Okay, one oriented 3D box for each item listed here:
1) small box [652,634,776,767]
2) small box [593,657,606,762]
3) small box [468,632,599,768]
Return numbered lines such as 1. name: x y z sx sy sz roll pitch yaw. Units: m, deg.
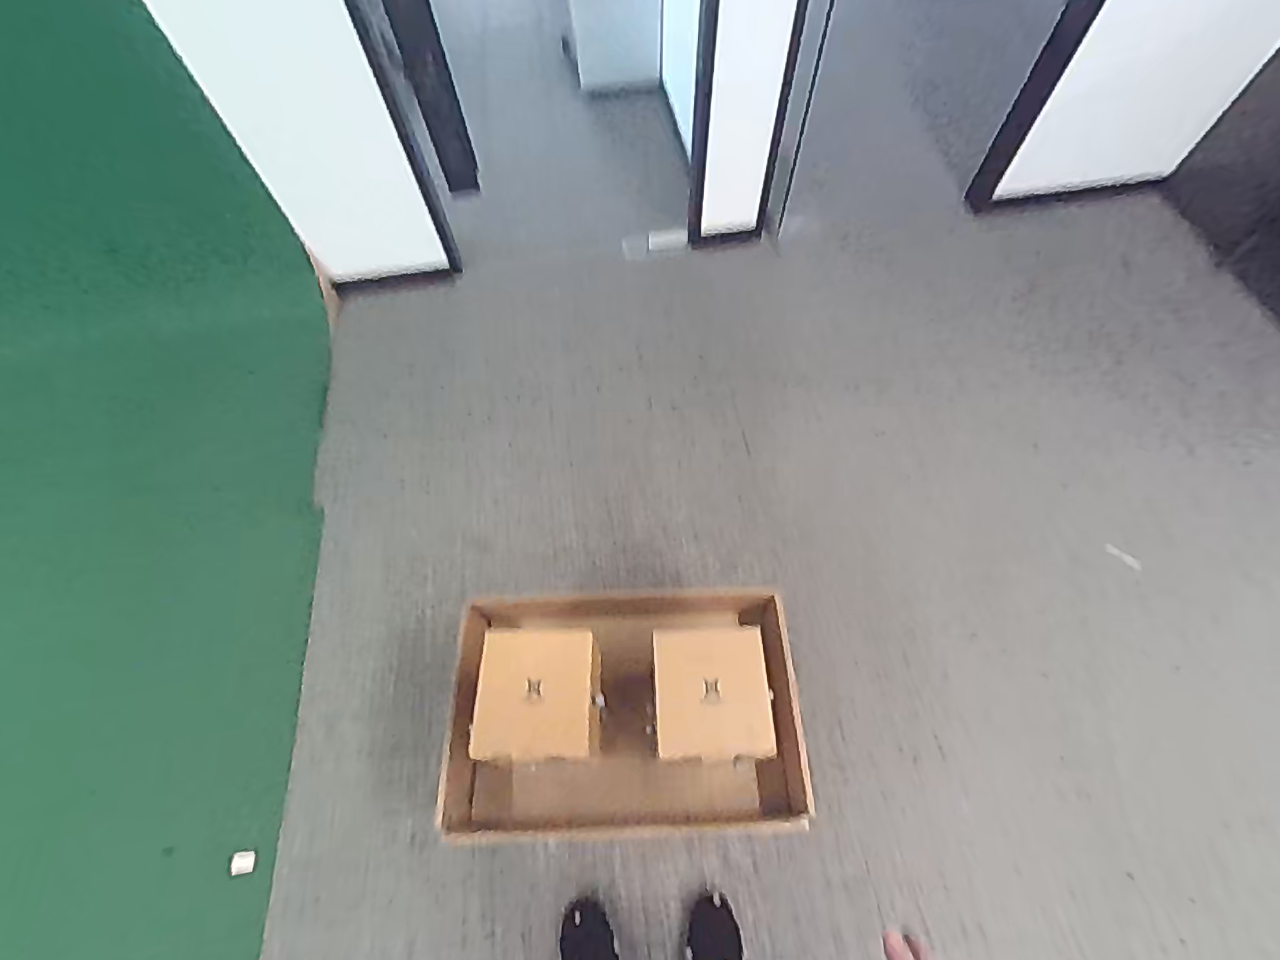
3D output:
1. small box: 0.103 0.346 0.837 0.168 0.176 0.179 -1 60 0
2. small box: -0.158 0.424 0.990 0.179 0.176 0.168 0 60 0
3. small box: -0.153 0.347 0.845 0.168 0.176 0.179 0 61 0
